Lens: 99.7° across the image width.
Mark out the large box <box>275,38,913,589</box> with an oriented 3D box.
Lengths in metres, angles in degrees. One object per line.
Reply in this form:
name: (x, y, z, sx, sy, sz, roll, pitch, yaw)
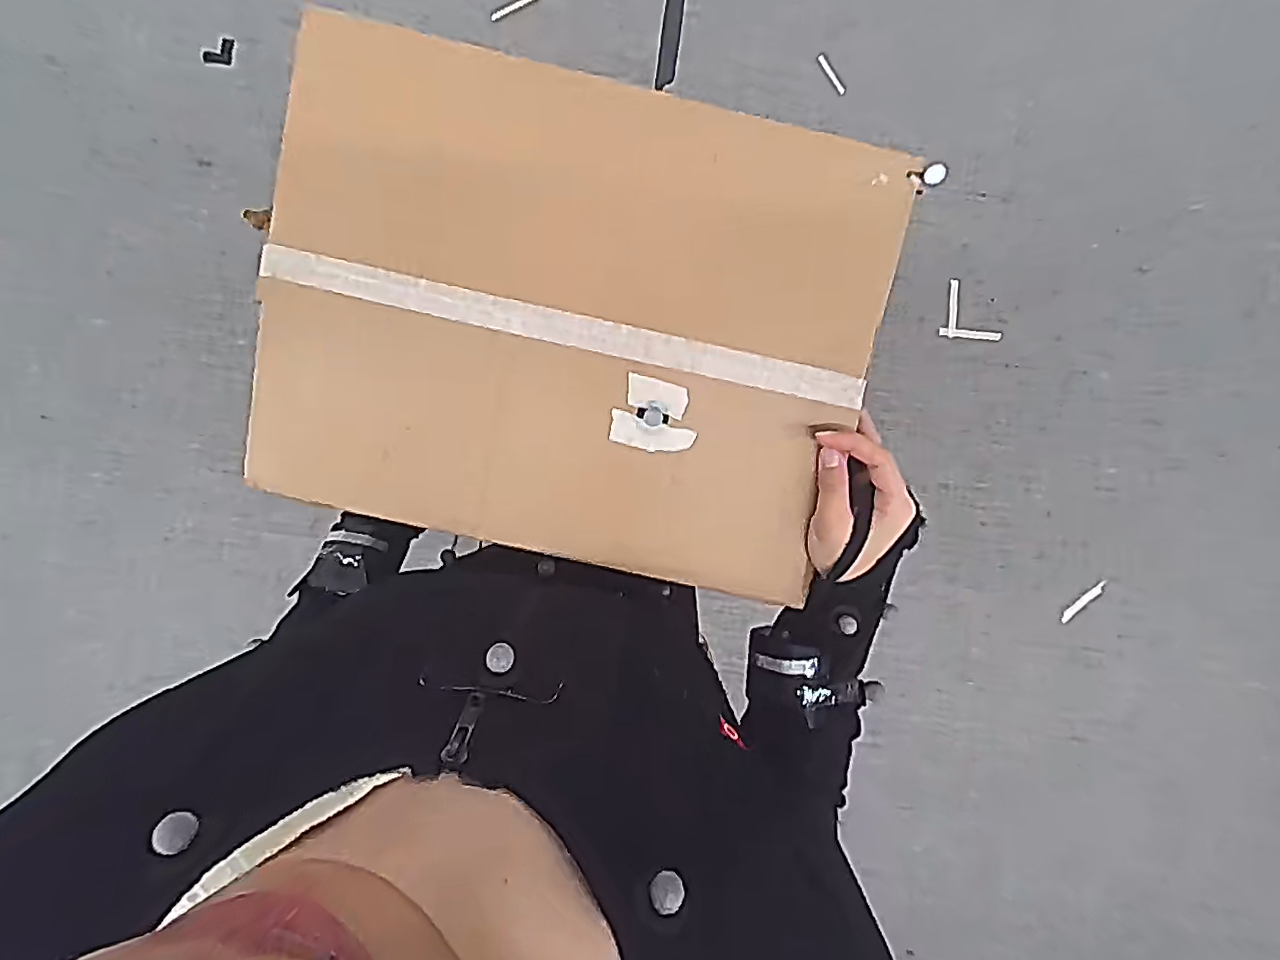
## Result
large box: (-0.042, -0.121, 0.521, 0.408, 0.320, 0.320, 12, 98, -3)
